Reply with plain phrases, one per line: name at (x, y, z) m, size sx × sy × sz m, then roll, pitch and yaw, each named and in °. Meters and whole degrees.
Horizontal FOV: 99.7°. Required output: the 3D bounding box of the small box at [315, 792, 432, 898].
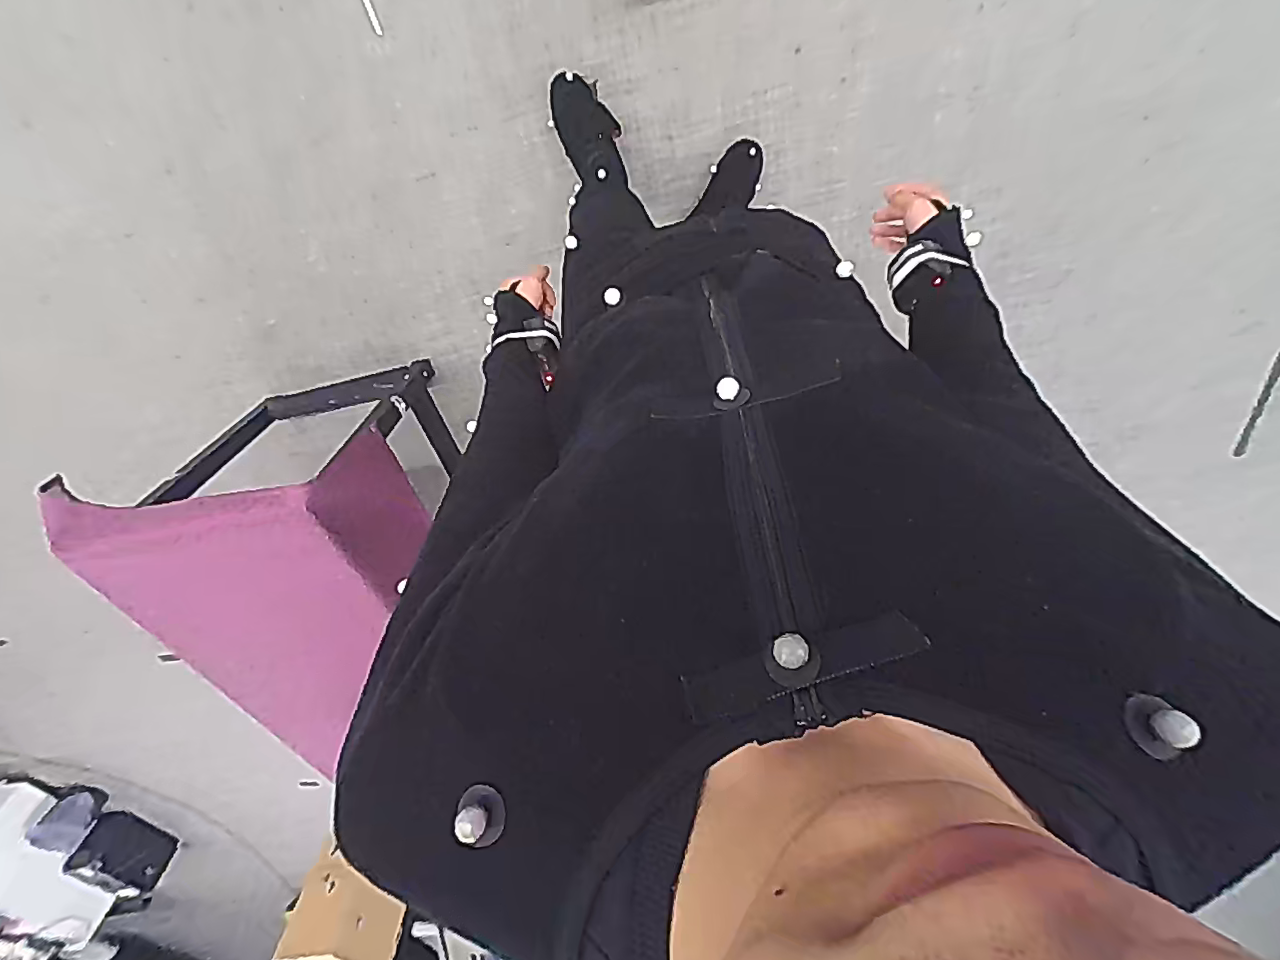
small box at (-0.661, 0.919, 1.365) m, size 0.179 × 0.176 × 0.168 m, roll -20°, pitch 124°, yaw 15°
